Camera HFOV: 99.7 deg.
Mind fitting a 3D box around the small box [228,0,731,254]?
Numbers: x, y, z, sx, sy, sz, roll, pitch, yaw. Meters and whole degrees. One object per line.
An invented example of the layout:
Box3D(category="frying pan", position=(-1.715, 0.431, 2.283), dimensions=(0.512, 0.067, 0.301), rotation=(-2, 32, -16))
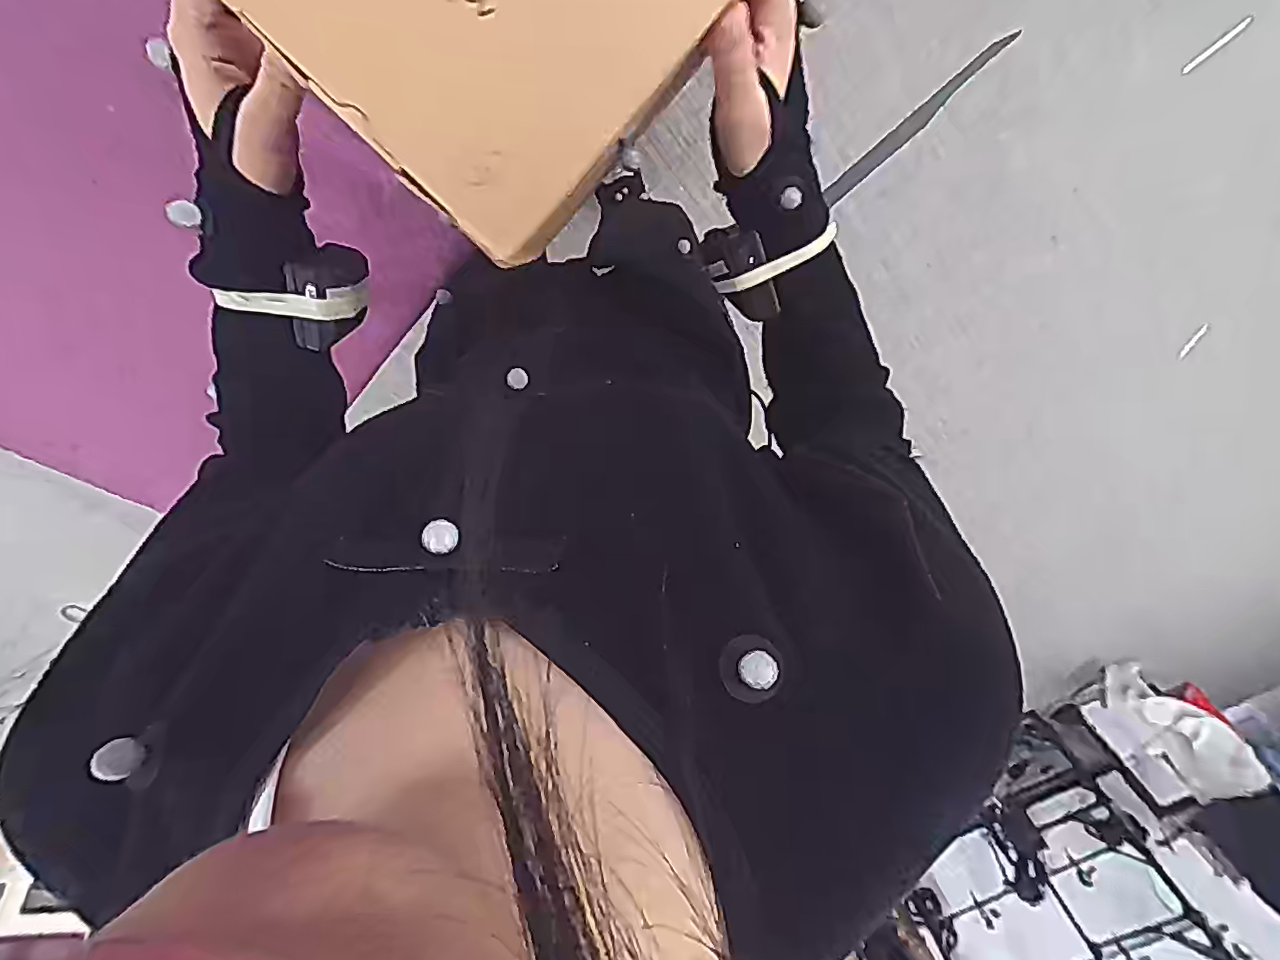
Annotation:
Box3D(category="small box", position=(-0.066, -0.243, 0.279), dimensions=(0.168, 0.176, 0.179), rotation=(40, 104, -21))

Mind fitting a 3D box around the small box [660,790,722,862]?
Box3D(category="small box", position=(0.178, 1.245, 1.957), dimensions=(0.168, 0.176, 0.179), rotation=(-1, 129, -13))

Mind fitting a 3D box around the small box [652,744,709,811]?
Box3D(category="small box", position=(0.150, 1.144, 2.083), dimensions=(0.168, 0.176, 0.179), rotation=(-1, 130, -14))
